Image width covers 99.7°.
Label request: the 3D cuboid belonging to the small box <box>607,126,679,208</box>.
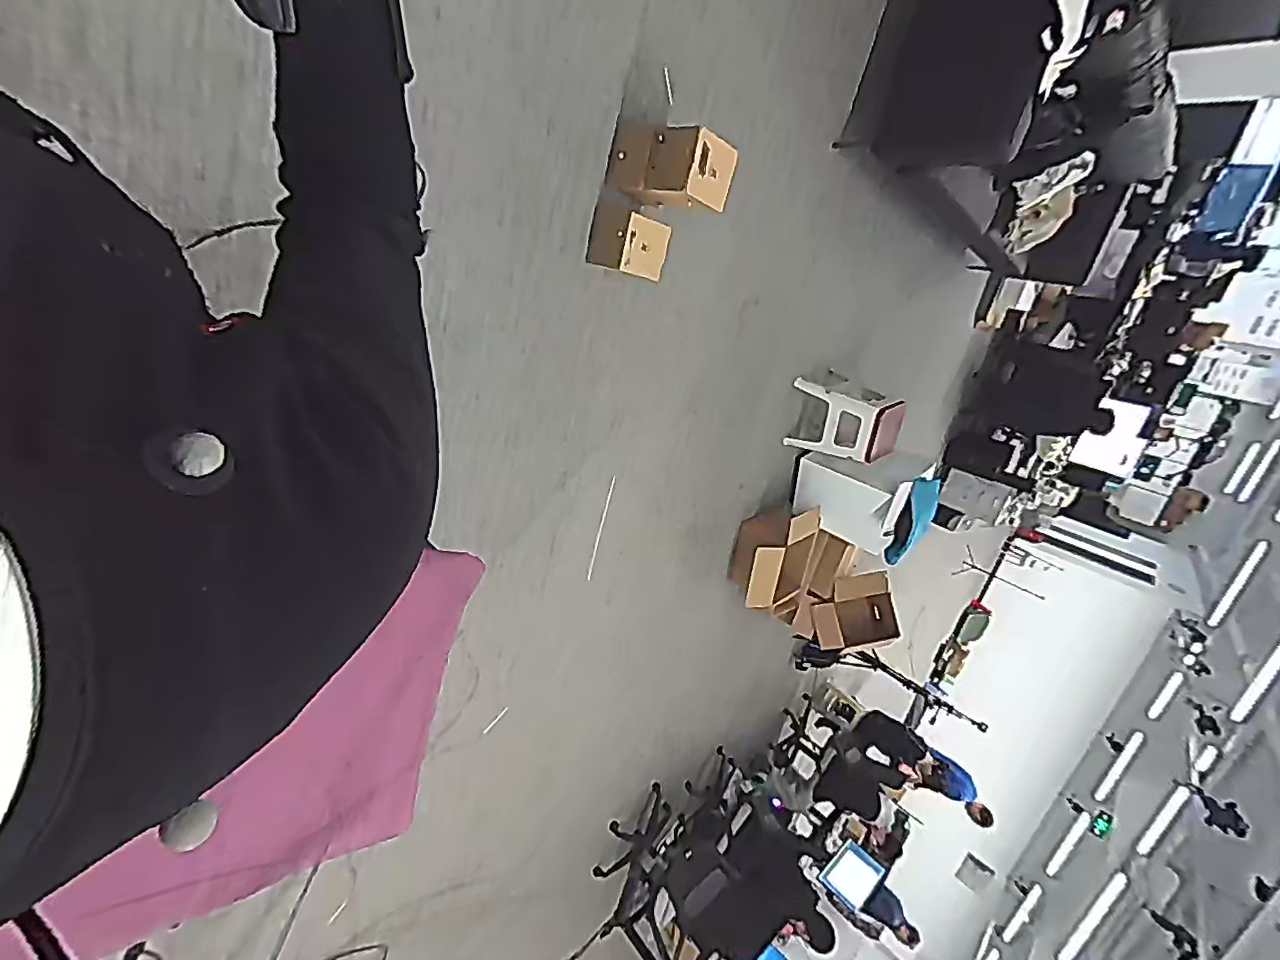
[{"bbox_3d":[0.030,-0.949,1.642,0.179,0.176,0.168,-1,112,-46],"label":"small box"}]

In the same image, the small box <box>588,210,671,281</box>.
[{"bbox_3d":[-0.035,-0.739,1.698,0.179,0.176,0.168,-5,115,-46],"label":"small box"}]

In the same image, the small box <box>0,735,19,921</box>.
[{"bbox_3d":[-0.722,0.383,0.511,0.168,0.176,0.179,6,108,-49],"label":"small box"}]

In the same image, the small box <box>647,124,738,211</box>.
[{"bbox_3d":[0.145,-0.886,1.543,0.179,0.176,0.168,-3,114,-46],"label":"small box"}]
